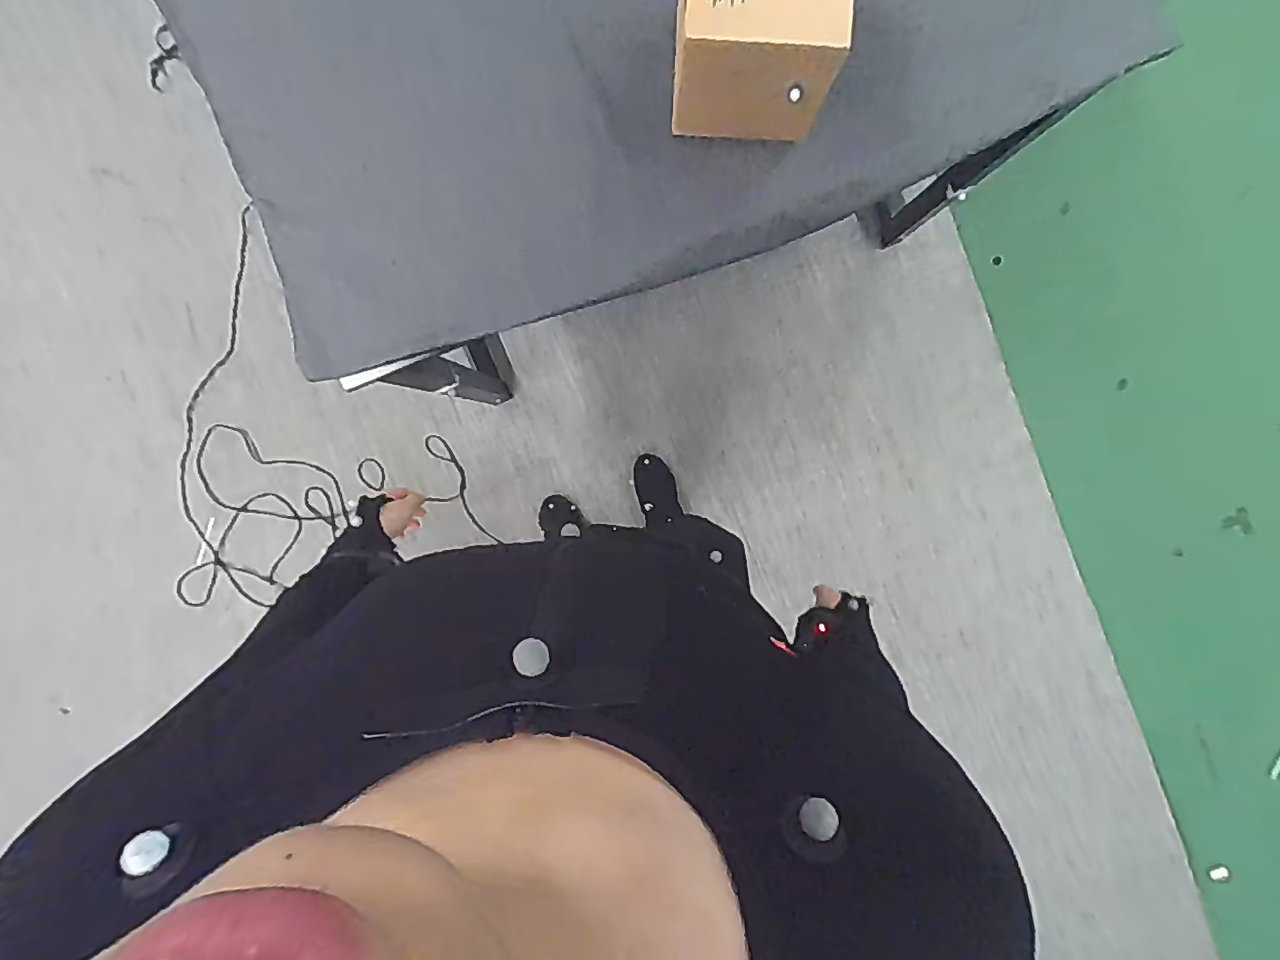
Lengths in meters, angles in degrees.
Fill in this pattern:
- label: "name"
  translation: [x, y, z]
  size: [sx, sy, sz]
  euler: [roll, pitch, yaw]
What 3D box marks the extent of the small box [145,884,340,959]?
- label: "small box"
  translation: [-0.510, 0.635, 0.647]
  size: [0.168, 0.176, 0.179]
  euler: [-32, 97, 3]
